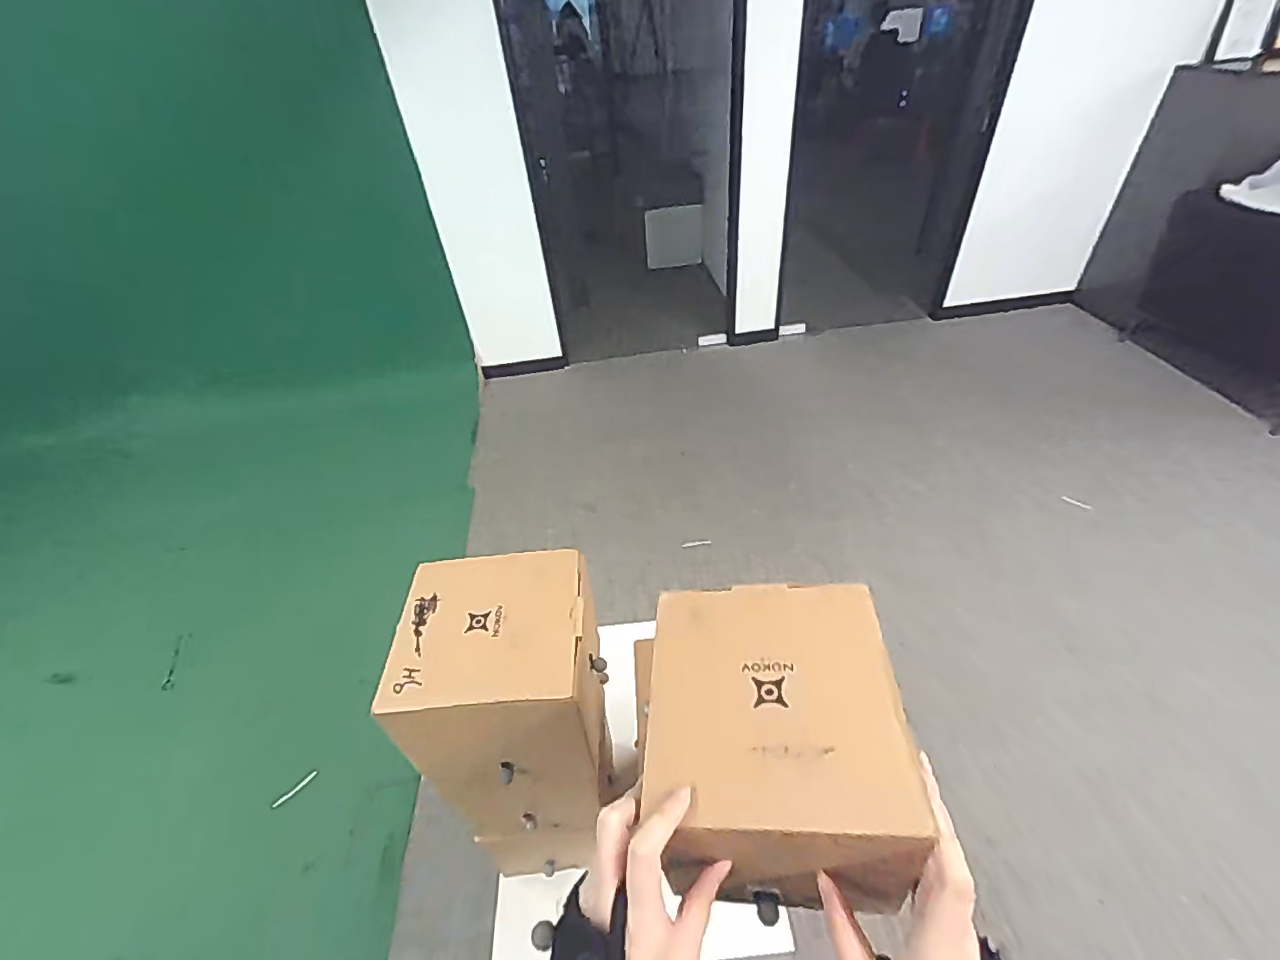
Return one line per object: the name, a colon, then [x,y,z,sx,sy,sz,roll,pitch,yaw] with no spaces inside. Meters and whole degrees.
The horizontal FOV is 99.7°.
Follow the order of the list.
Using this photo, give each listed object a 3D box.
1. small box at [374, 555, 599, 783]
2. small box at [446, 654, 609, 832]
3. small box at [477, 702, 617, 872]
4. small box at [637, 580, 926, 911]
small box: [-0.137,0.198,0.567,0.179,0.176,0.168,-4,41,1]
small box: [-0.131,0.315,0.682,0.168,0.176,0.179,-5,42,1]
small box: [-0.123,0.441,0.788,0.168,0.176,0.179,-6,42,0]
small box: [0.101,0.200,0.422,0.168,0.176,0.179,-5,39,12]
